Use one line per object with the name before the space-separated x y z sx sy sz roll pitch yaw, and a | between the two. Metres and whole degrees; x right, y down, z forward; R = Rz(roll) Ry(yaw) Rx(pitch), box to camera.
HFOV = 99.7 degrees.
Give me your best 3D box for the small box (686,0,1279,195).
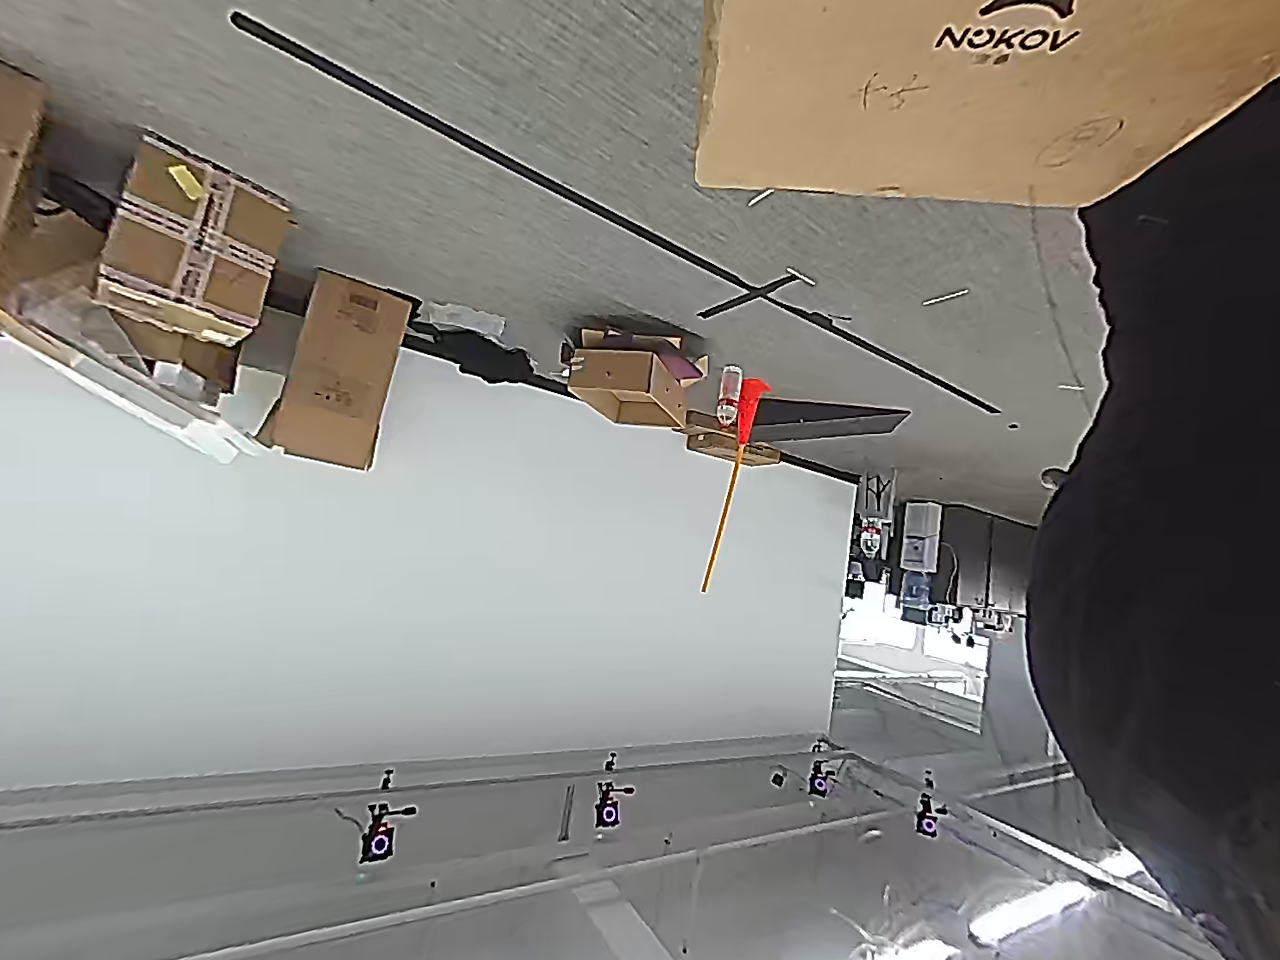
small box | 0.104 -0.211 0.150 0.168 0.176 0.179 3 177 2
